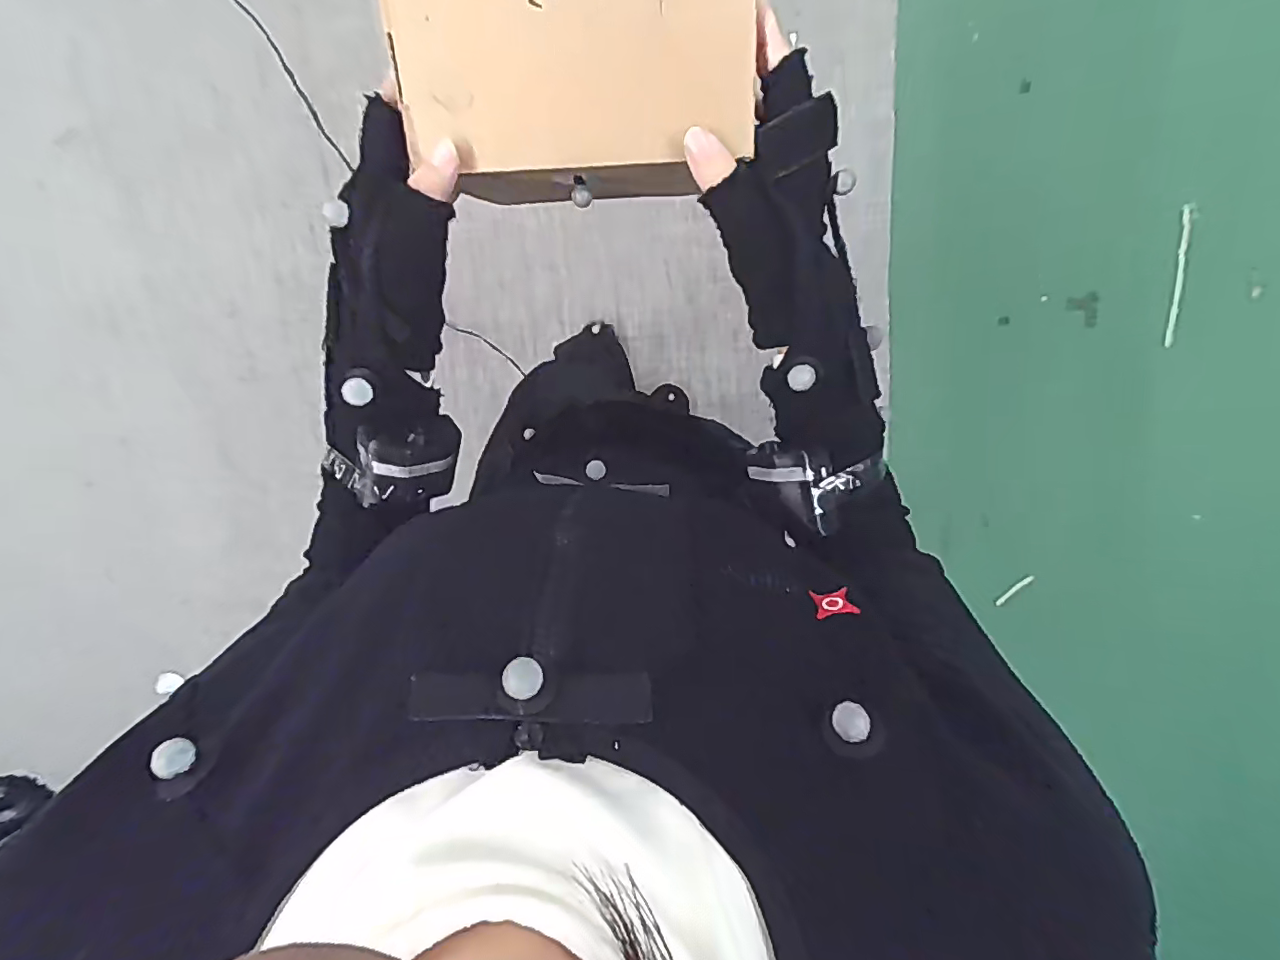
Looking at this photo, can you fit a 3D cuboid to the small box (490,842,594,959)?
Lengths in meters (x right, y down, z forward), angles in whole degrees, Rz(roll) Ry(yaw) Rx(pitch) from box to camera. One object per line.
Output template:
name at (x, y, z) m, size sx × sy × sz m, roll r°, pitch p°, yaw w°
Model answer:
small box at (-0.194, 0.876, 1.099) m, size 0.179 × 0.176 × 0.168 m, roll 2°, pitch 103°, yaw 1°

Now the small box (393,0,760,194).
small box at (-0.029, -0.272, 0.319) m, size 0.179 × 0.176 × 0.168 m, roll -3°, pitch 114°, yaw 2°

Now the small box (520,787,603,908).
small box at (-0.177, 0.848, 1.262) m, size 0.168 × 0.176 × 0.179 m, roll 0°, pitch 102°, yaw 3°
